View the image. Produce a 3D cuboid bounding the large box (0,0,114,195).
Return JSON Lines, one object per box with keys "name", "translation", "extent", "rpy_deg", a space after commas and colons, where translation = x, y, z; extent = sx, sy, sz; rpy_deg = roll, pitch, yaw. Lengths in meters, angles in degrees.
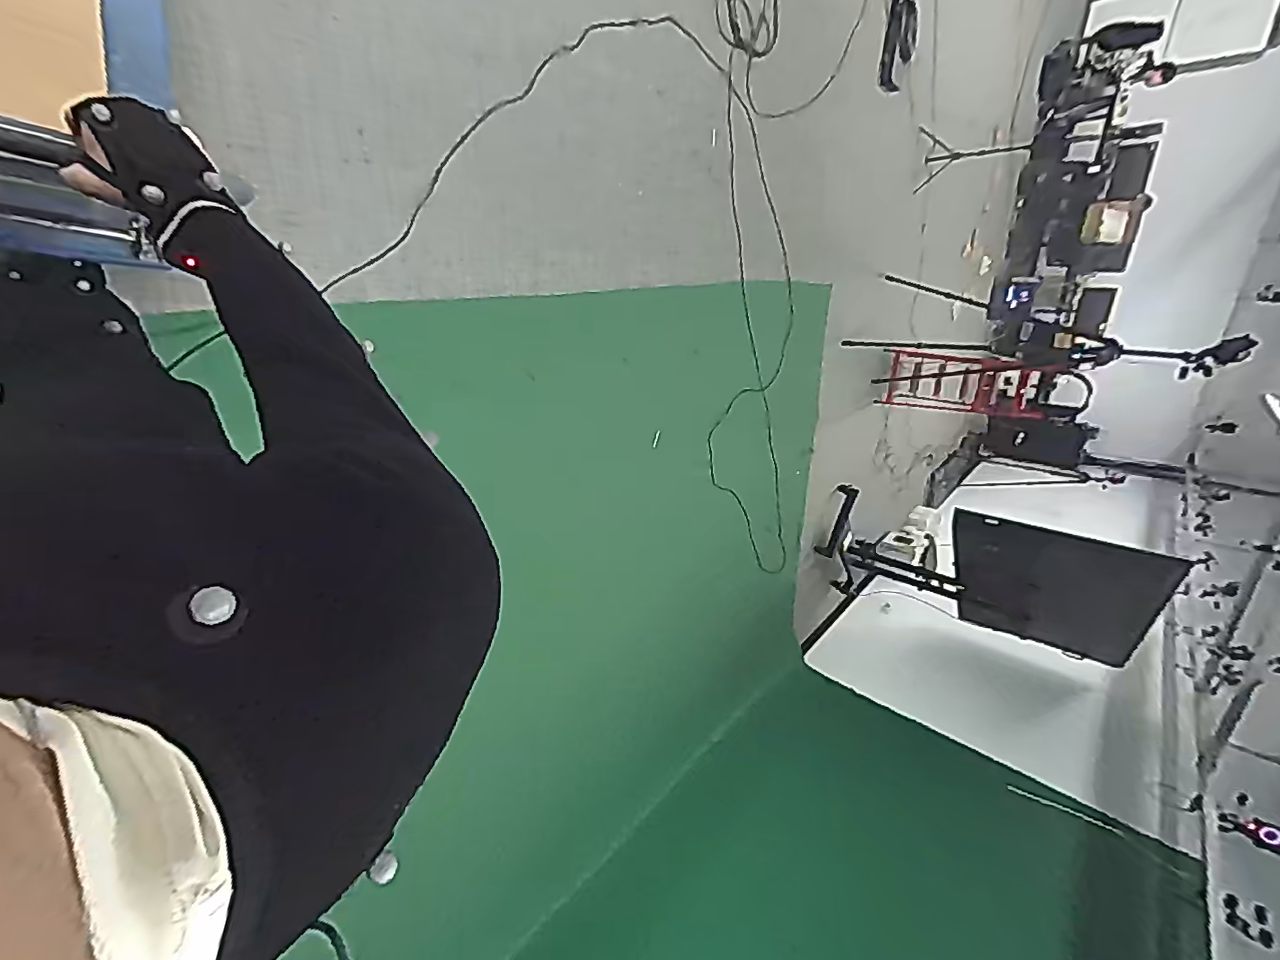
{"name": "large box", "translation": [-0.949, -0.645, 0.714], "extent": [0.320, 0.320, 0.408], "rpy_deg": [-9, 110, -48]}
